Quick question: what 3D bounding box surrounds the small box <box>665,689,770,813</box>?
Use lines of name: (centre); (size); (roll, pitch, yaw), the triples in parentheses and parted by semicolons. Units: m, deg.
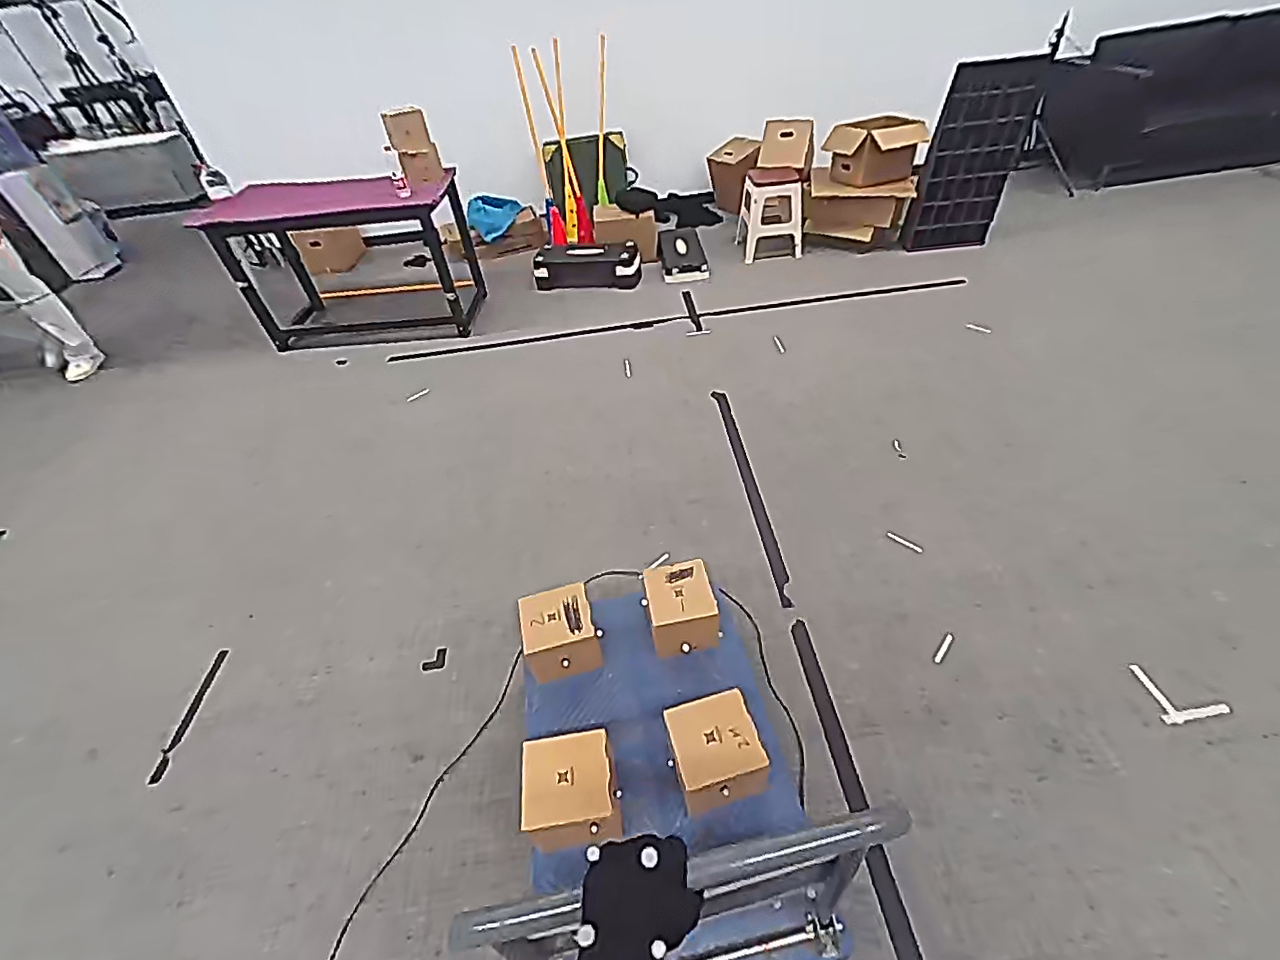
small box: (0.164, 0.585, 1.162); (0.179, 0.176, 0.168); (-14, 44, -7)

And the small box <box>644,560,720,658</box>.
small box: (0.108, 0.340, 1.428); (0.168, 0.176, 0.179); (-10, 44, -4)

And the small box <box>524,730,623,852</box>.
small box: (-0.137, 0.653, 1.132); (0.179, 0.176, 0.168); (-8, 43, -4)
